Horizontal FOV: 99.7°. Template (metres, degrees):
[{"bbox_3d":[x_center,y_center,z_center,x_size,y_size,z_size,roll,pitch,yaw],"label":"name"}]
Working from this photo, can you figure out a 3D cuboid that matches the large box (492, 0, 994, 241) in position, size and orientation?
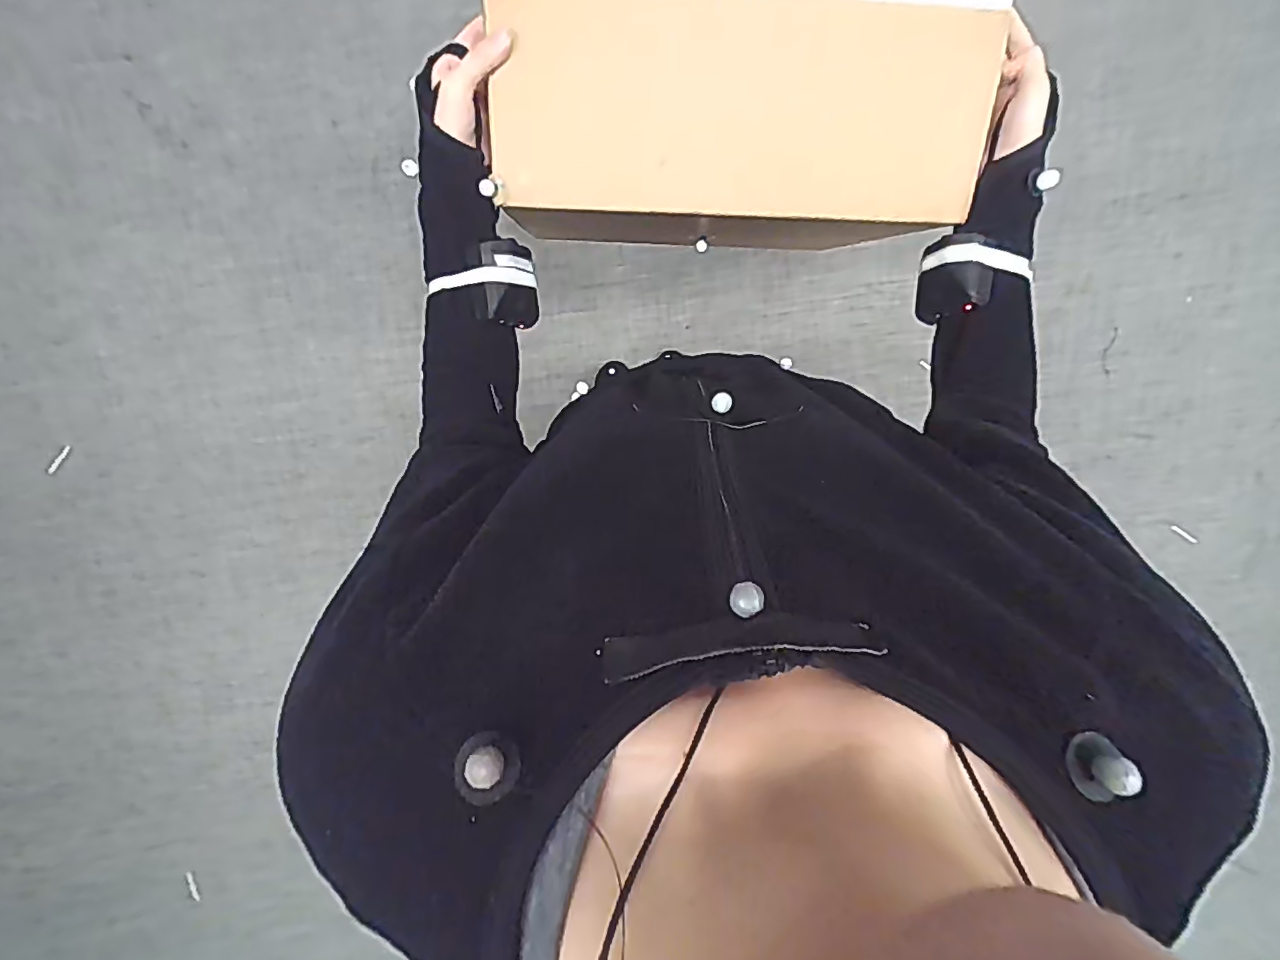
[{"bbox_3d":[0.077,-0.426,0.559,0.408,0.320,0.320,0,109,-4],"label":"large box"}]
